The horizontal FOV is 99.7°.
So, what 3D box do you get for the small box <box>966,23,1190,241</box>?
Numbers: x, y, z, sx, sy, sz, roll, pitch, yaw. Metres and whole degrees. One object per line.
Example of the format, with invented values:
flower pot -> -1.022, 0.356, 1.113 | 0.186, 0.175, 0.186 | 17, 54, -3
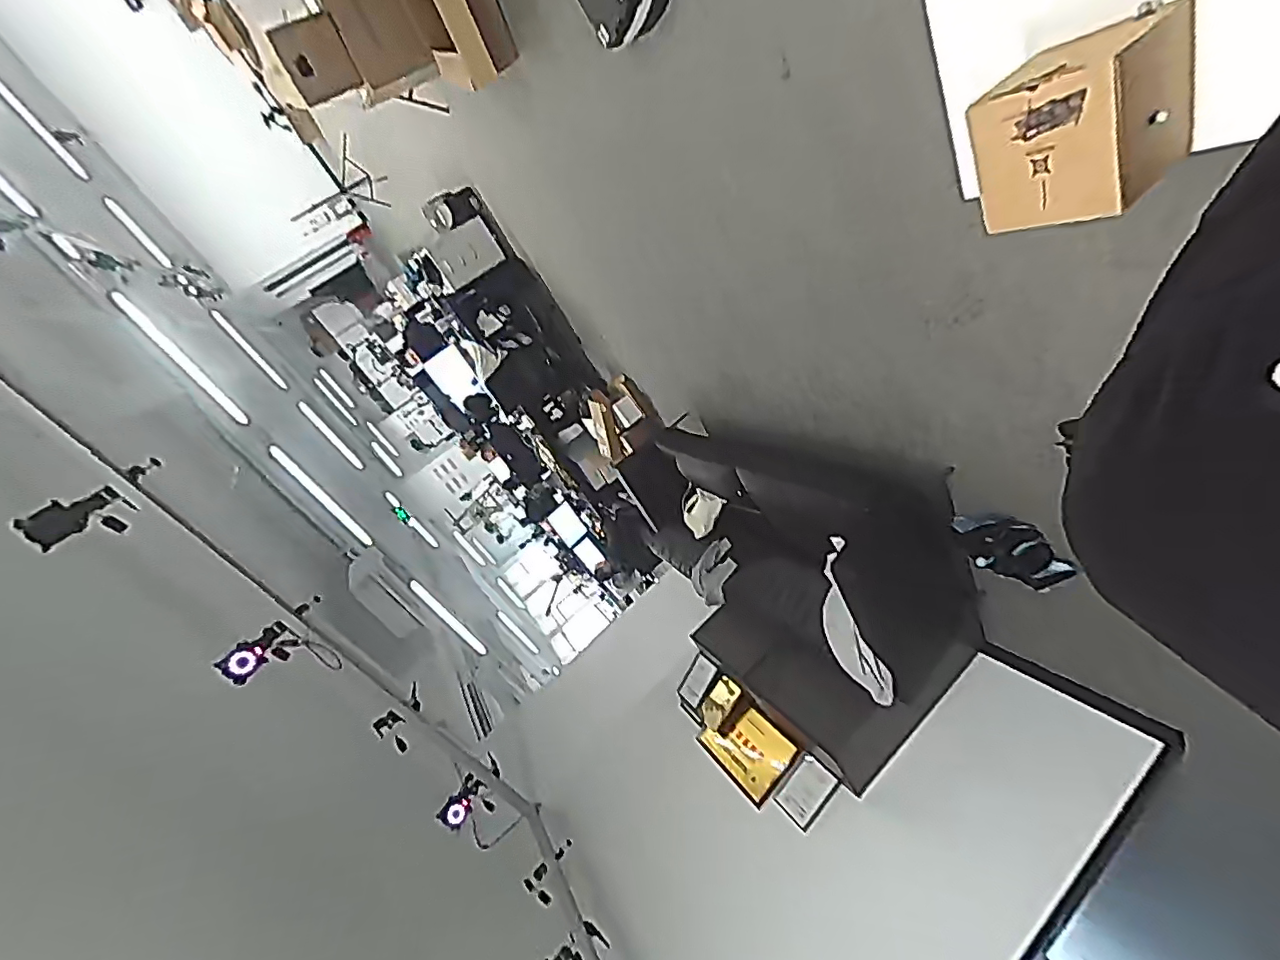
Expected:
small box -> 0.568, -0.446, 0.705 | 0.179, 0.176, 0.168 | 57, 165, -28
